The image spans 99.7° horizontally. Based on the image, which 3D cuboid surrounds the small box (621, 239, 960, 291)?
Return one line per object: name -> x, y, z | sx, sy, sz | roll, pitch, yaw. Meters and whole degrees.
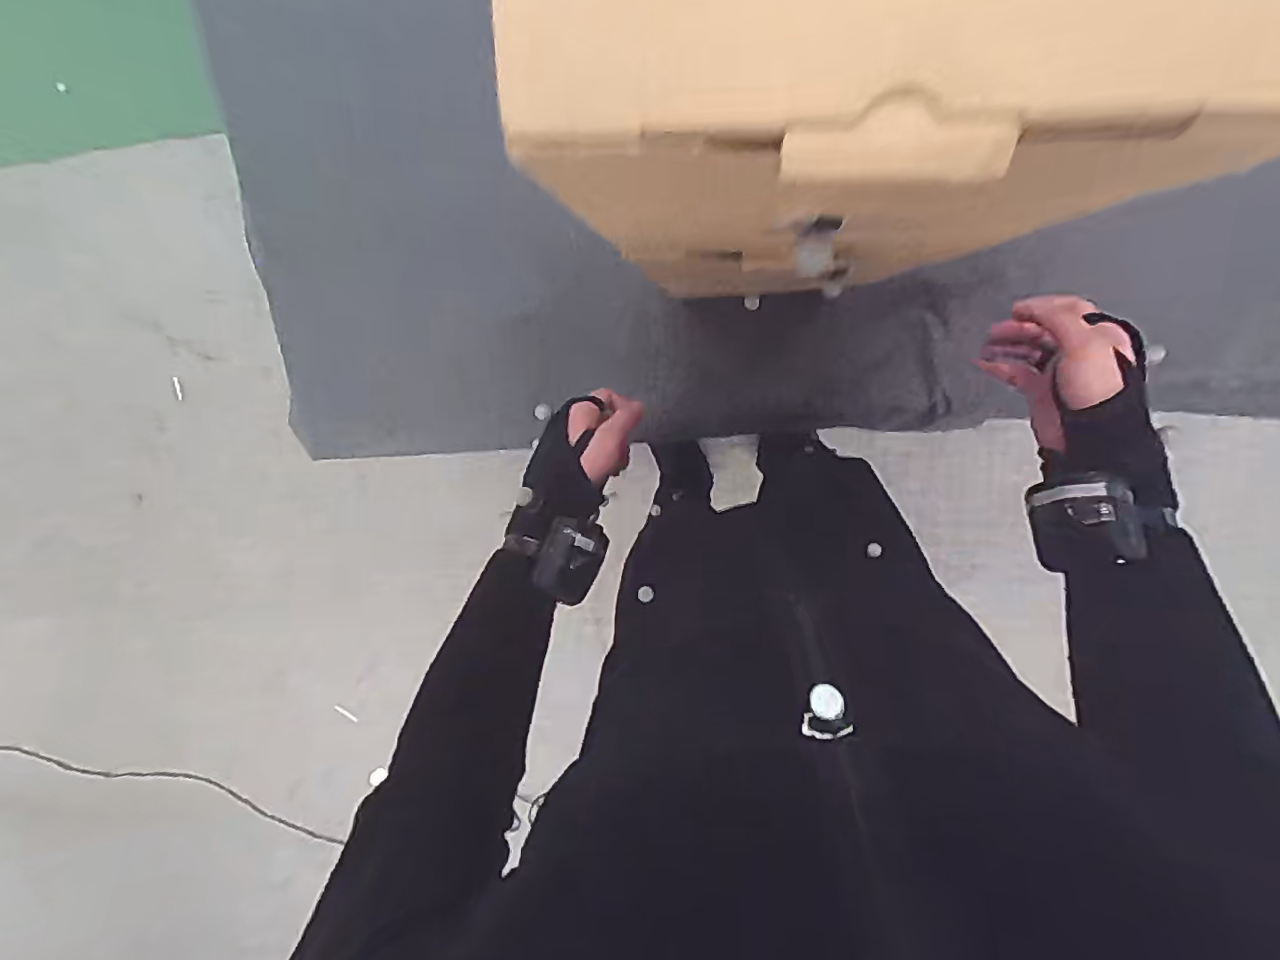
small box -> 0.082, -0.207, 0.317 | 0.168, 0.176, 0.179 | 1, 104, 8
